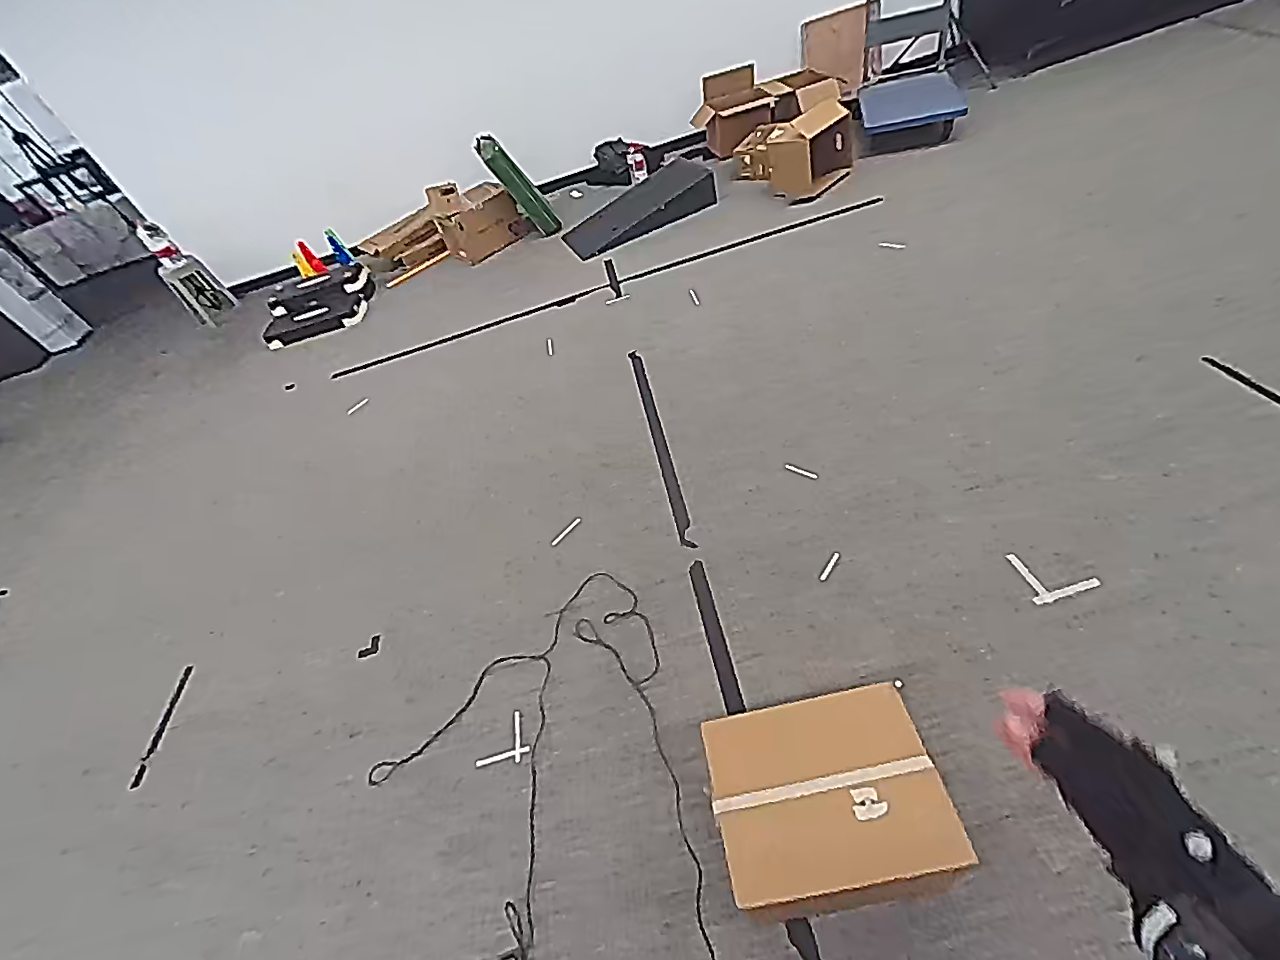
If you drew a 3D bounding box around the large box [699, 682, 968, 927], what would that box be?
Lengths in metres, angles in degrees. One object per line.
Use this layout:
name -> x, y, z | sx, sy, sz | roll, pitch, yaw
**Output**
large box -> 0.365, 0.671, 1.112 | 0.408, 0.320, 0.320 | -14, 45, 3
